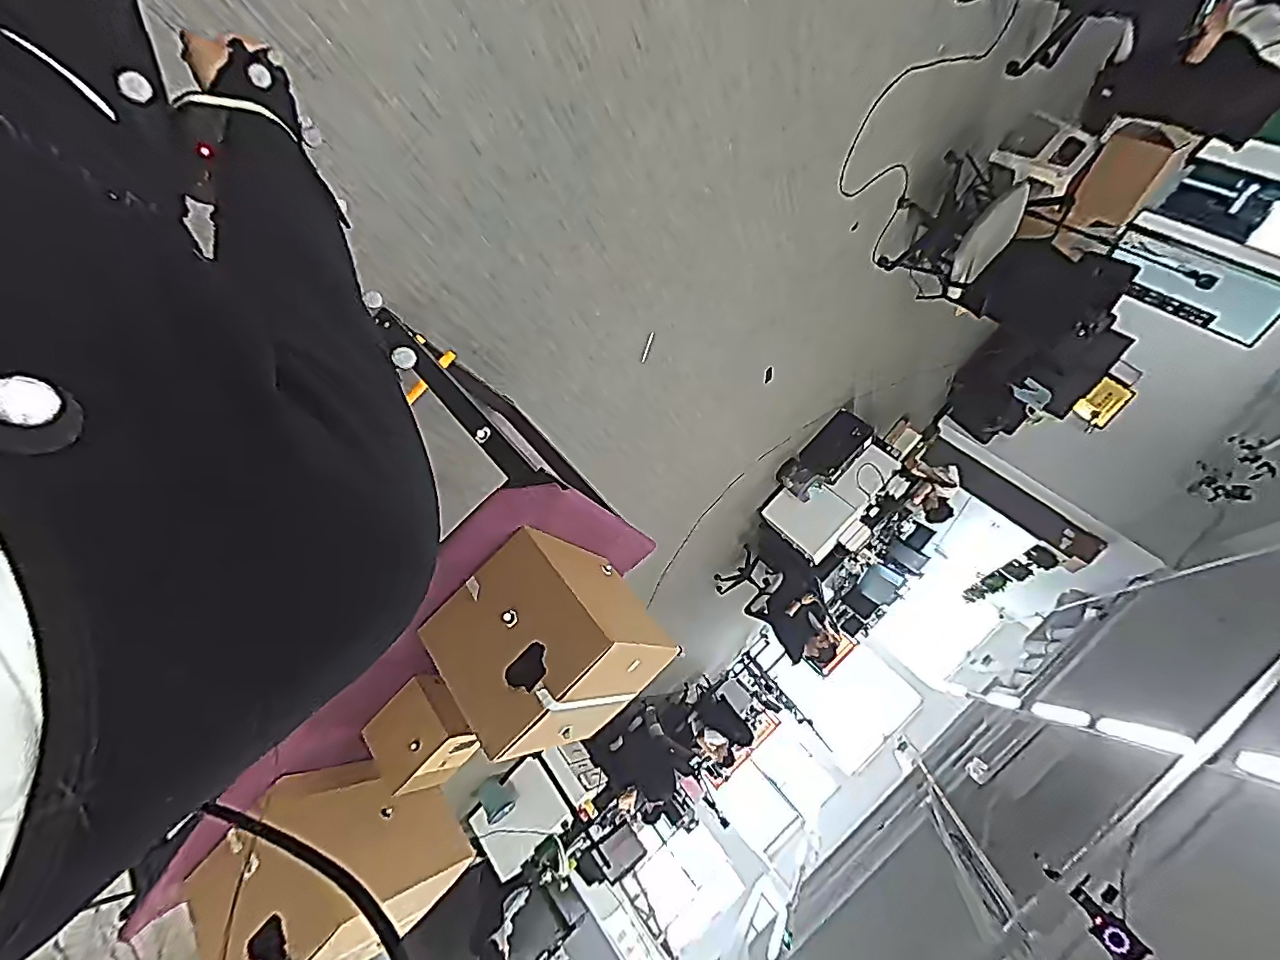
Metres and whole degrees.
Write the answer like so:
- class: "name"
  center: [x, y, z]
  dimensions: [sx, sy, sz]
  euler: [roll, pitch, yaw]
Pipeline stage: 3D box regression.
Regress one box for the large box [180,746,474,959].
- class: "large box"
  center: [-0.665, 0.846, 1.192]
  dimensions: [0.320, 0.320, 0.408]
  euler: [-46, 154, 1]
